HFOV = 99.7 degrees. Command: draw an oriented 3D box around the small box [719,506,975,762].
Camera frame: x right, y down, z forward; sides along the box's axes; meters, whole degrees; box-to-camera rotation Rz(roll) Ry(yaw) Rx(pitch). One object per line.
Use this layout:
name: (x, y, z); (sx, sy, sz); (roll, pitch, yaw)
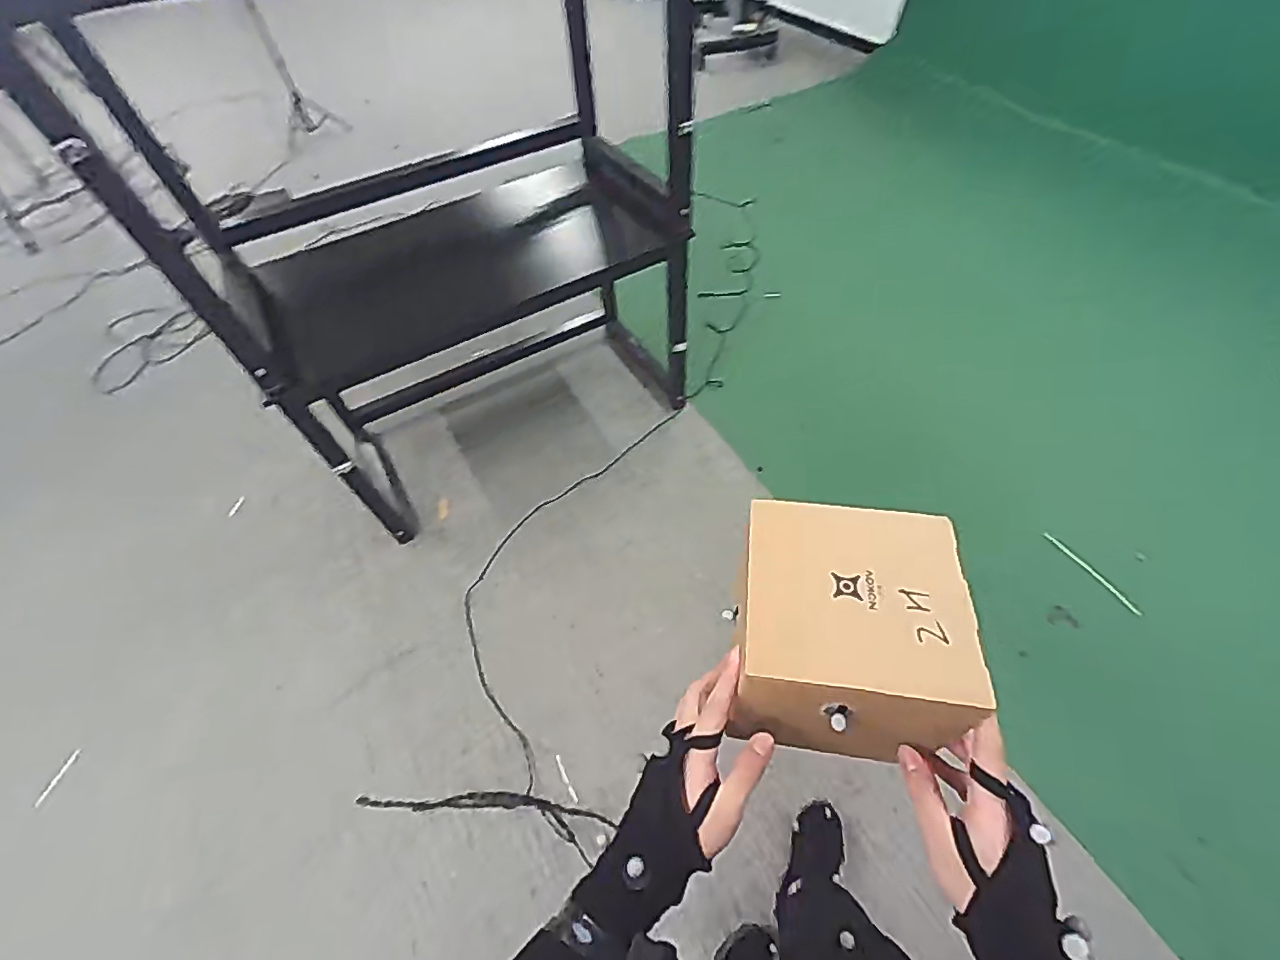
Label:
small box: (0.167, 0.144, 0.498); (0.179, 0.176, 0.168); (5, 51, 8)
